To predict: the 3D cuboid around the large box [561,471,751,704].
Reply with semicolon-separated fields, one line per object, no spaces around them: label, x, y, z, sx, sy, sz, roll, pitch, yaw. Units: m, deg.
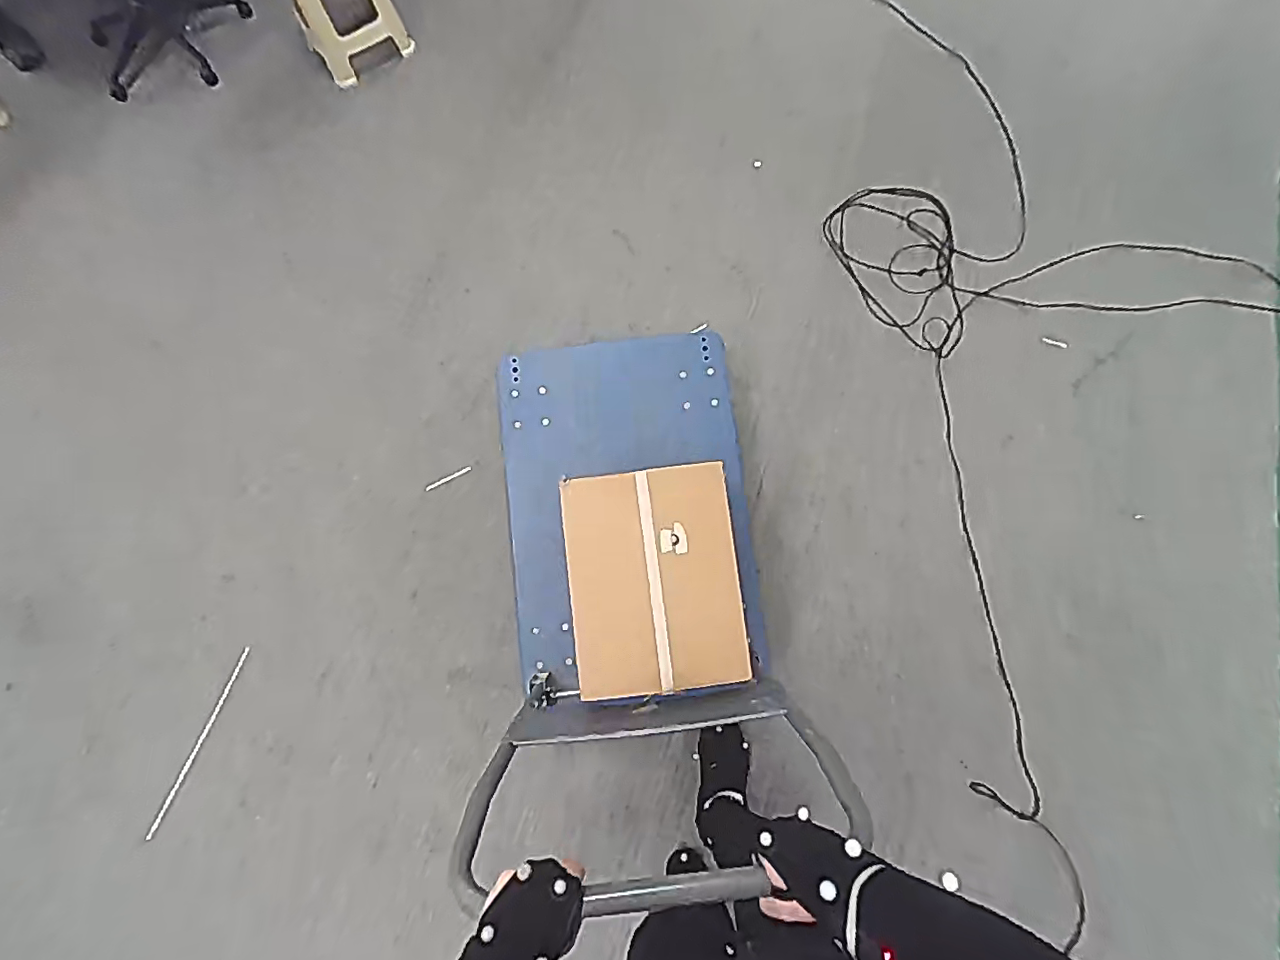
large box;0.029;0.218;1.162;0.320;0.320;0.408;-7;82;-1
